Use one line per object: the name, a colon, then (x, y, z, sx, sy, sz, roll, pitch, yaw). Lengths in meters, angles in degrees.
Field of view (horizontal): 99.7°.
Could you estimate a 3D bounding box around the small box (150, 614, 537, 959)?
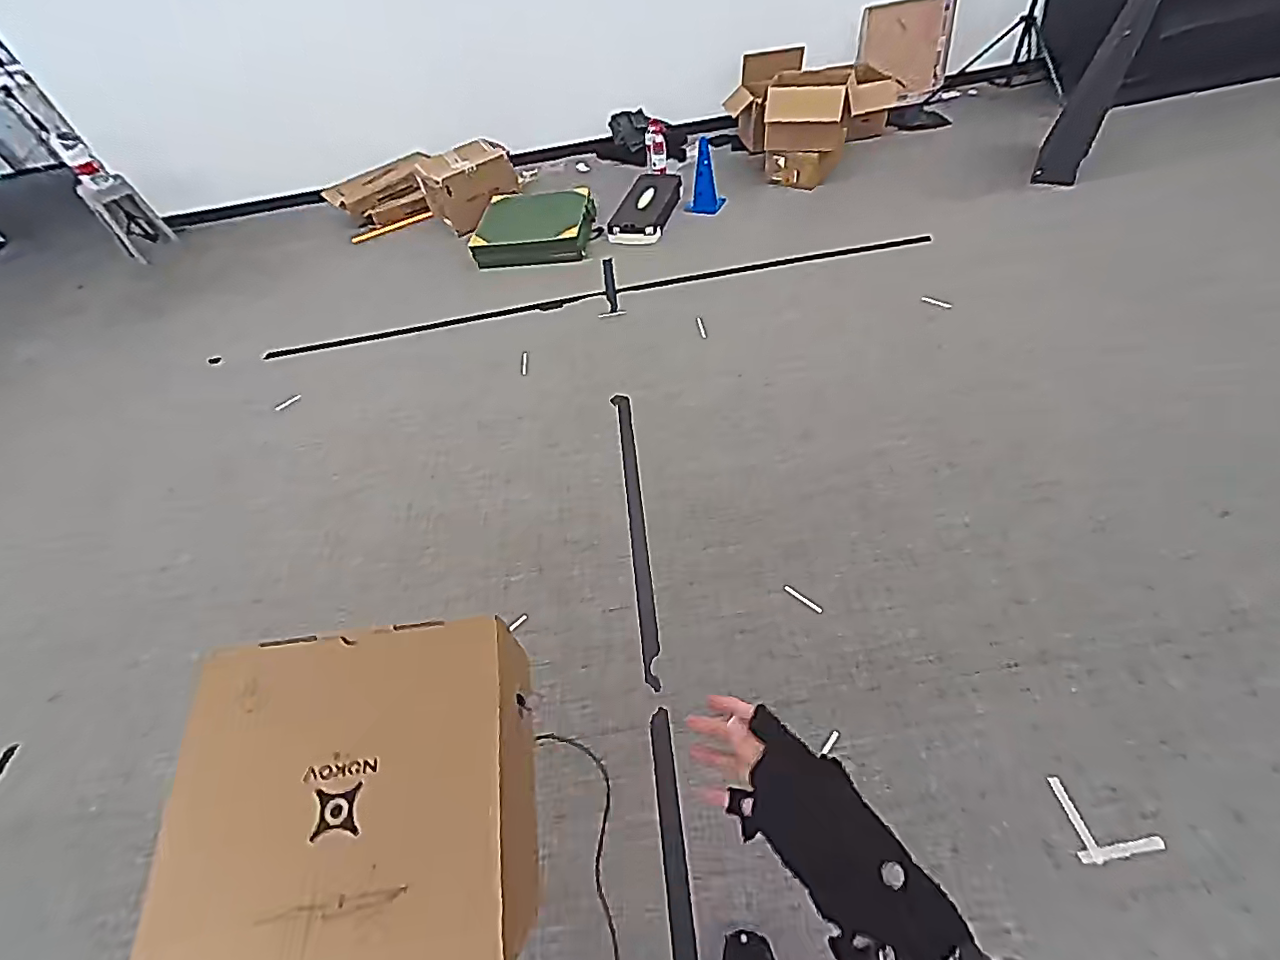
small box: (-0.161, 0.203, 0.360, 0.168, 0.176, 0.179, -5, 63, -7)
